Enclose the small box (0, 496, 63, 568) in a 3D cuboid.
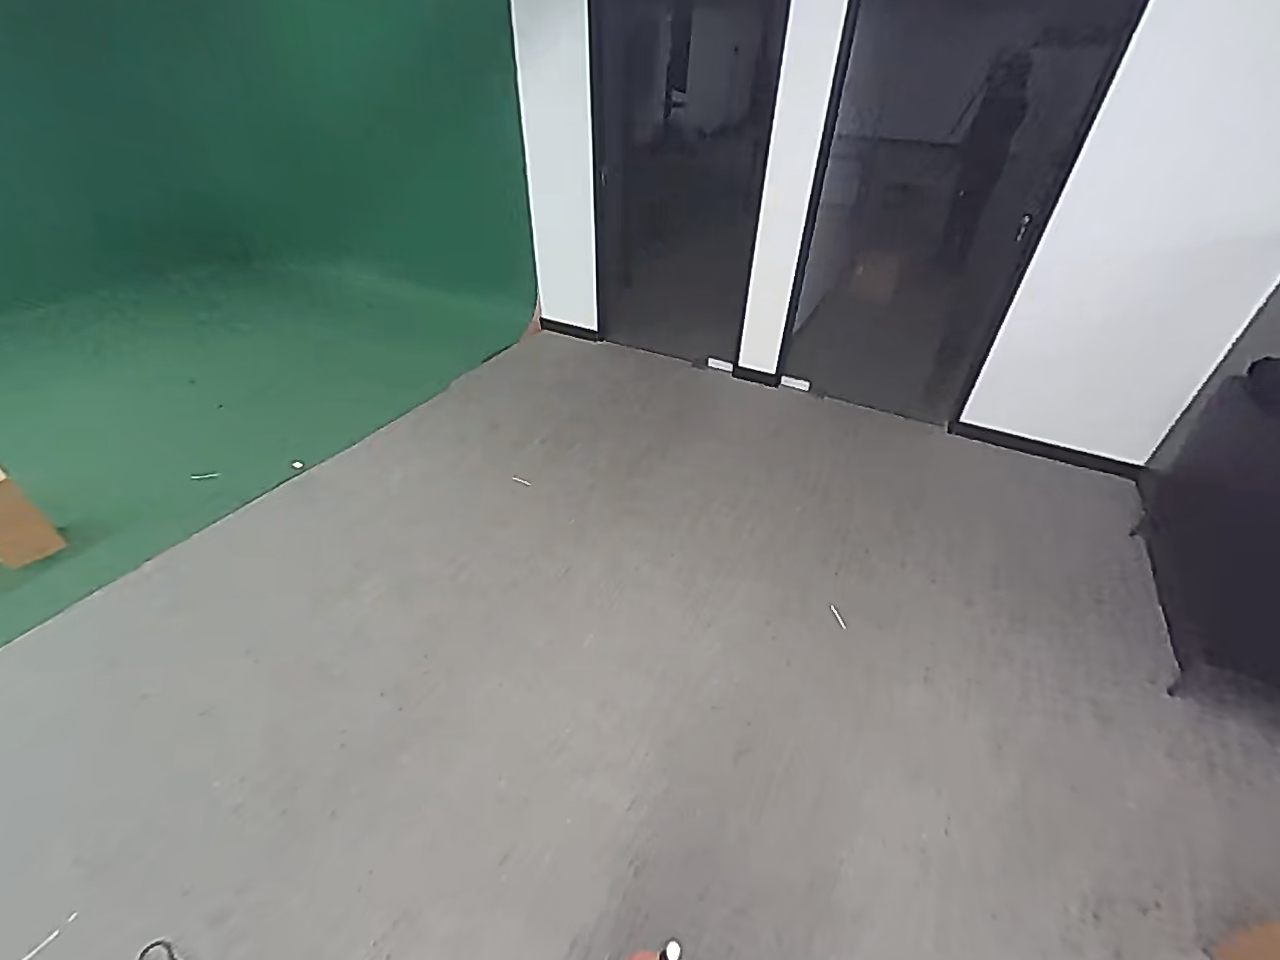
[{"bbox_3d":[-2.274,0.193,1.968,0.179,0.176,0.168,26,43,27],"label":"small box"}]
